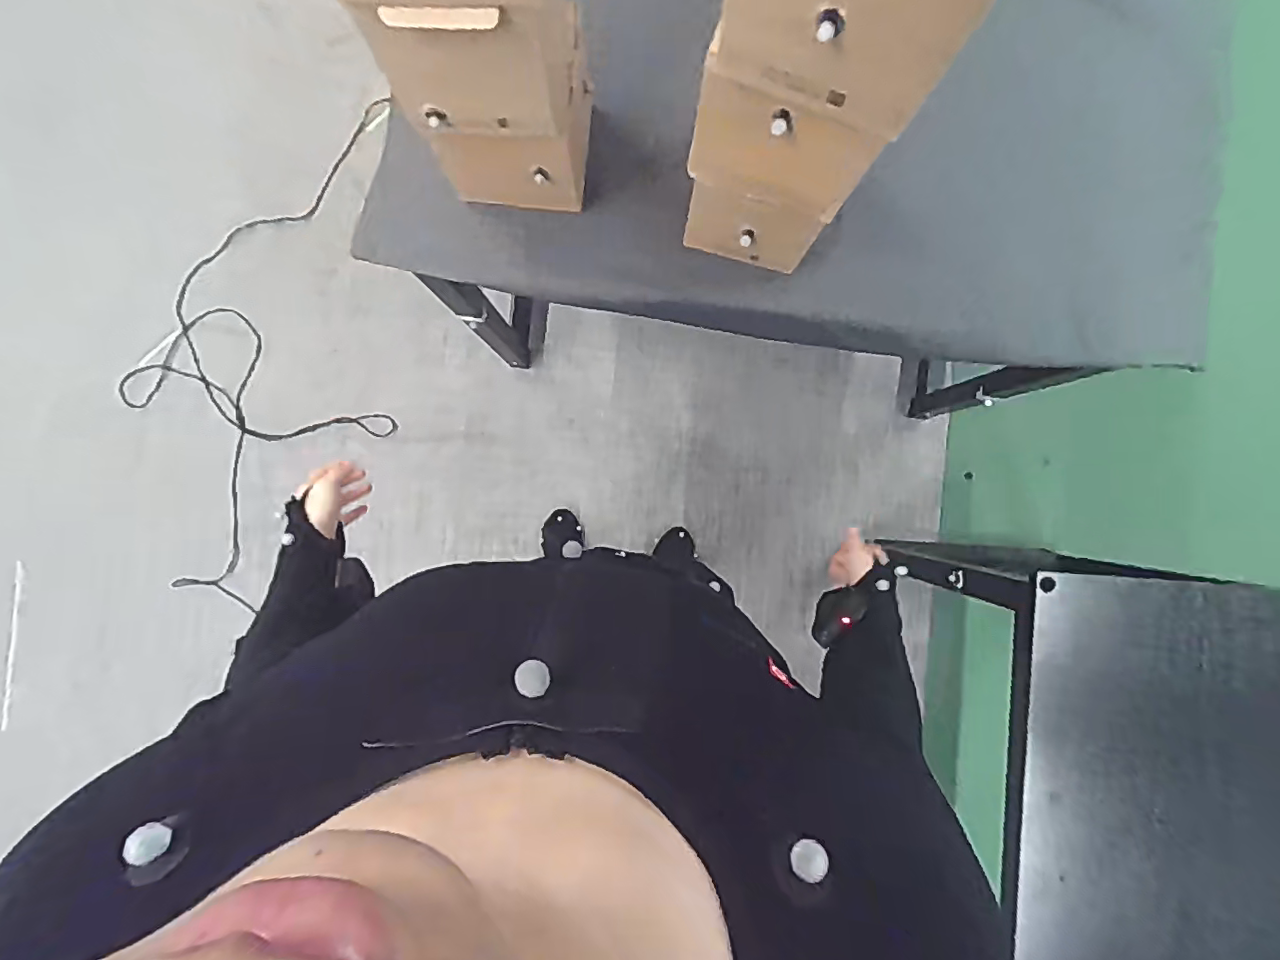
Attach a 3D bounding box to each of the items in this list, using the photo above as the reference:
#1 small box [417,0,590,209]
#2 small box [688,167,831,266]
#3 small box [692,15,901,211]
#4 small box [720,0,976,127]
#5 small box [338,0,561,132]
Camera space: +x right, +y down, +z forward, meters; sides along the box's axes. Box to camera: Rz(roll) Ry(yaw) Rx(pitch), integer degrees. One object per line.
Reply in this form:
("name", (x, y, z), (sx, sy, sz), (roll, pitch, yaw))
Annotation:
("small box", (-0.163, -0.477, 0.702), (0.179, 0.176, 0.168), (5, 87, 1))
("small box", (0.162, -0.405, 0.698), (0.168, 0.176, 0.179), (15, 89, 1))
("small box", (0.163, -0.400, 0.535), (0.179, 0.176, 0.168), (20, 88, 2))
("small box", (0.162, -0.393, 0.369), (0.168, 0.176, 0.179), (22, 88, 1))
("small box", (-0.173, -0.482, 0.538), (0.168, 0.176, 0.179), (1, 86, -1))
